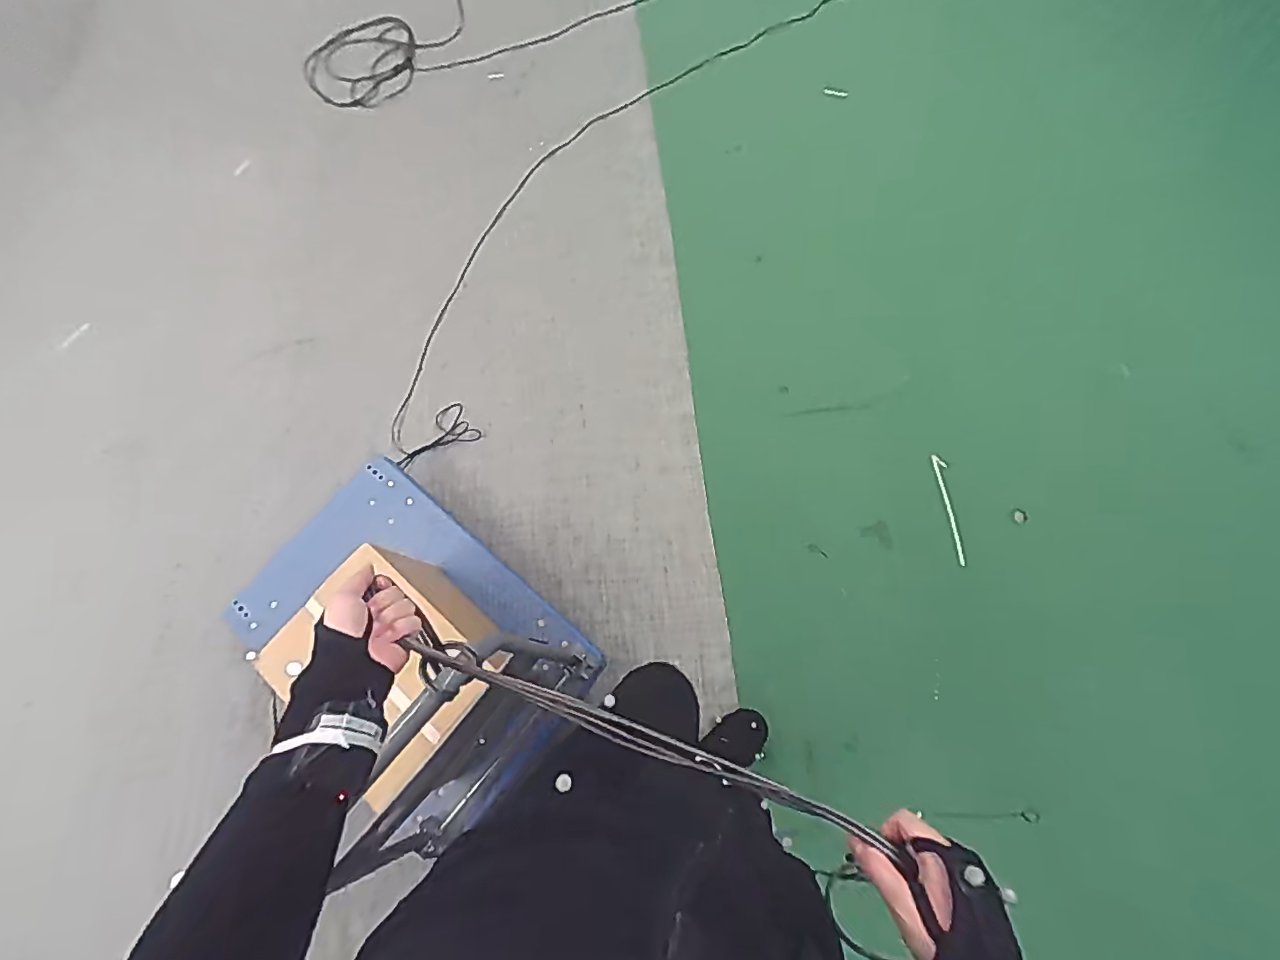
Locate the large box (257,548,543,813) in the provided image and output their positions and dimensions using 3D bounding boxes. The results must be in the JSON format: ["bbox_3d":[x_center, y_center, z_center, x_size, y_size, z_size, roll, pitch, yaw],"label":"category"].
[{"bbox_3d":[-0.487,0.412,1.169,0.408,0.320,0.320,37,78,17],"label":"large box"}]
